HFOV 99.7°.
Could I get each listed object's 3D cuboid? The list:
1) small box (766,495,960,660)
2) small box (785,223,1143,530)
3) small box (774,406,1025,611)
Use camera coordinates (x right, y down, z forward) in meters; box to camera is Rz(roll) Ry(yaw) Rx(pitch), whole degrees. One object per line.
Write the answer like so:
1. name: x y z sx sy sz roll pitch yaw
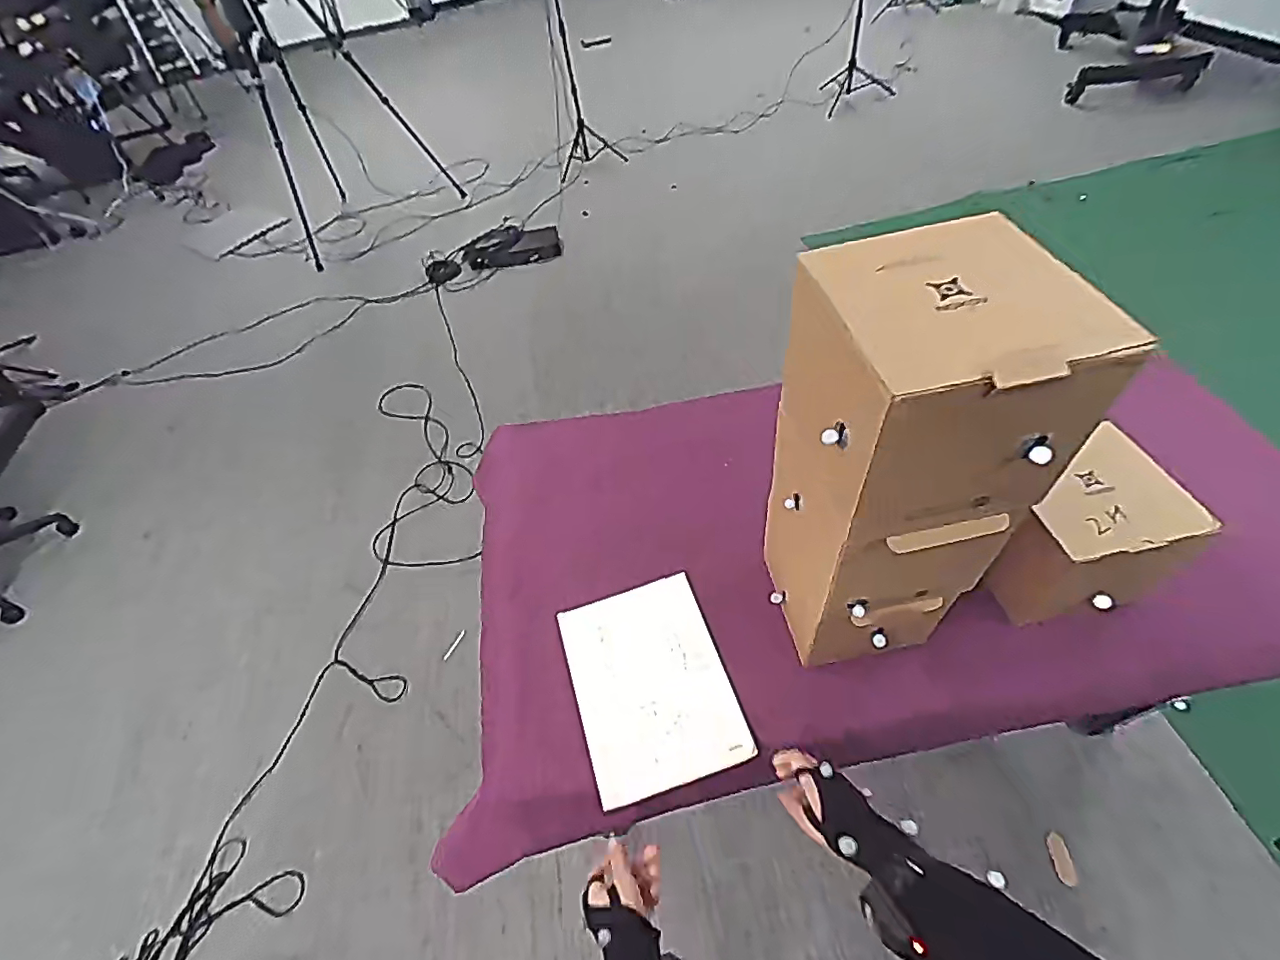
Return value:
1. small box: 0.270 0.119 0.703 0.168 0.176 0.179 -12 51 0
2. small box: 0.226 -0.074 0.442 0.168 0.176 0.179 -11 50 1
3. small box: 0.248 0.022 0.571 0.168 0.176 0.179 -12 50 1
